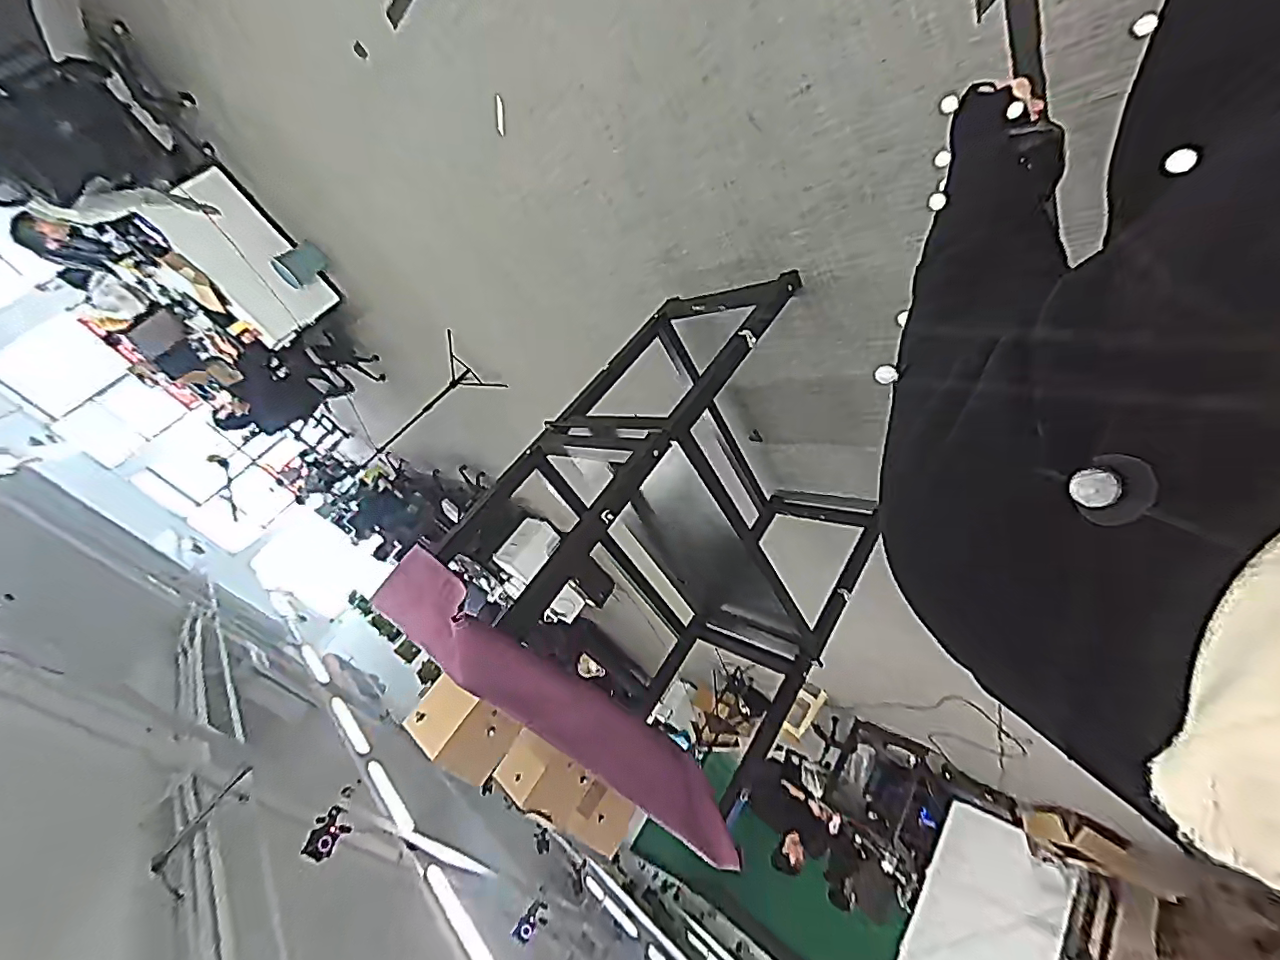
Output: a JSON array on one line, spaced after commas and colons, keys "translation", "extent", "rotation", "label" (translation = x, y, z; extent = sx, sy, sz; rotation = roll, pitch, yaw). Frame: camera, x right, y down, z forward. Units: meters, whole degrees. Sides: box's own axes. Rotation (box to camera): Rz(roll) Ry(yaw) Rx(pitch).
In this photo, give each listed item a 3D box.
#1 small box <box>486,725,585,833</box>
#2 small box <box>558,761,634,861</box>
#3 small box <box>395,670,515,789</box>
[{"translation": [-0.276, 0.801, 1.463], "extent": [0.179, 0.176, 0.168], "rotation": [5, 140, 53], "label": "small box"}, {"translation": [-0.153, 0.985, 1.623], "extent": [0.168, 0.176, 0.179], "rotation": [6, 141, 51], "label": "small box"}, {"translation": [-0.430, 0.576, 1.273], "extent": [0.179, 0.176, 0.168], "rotation": [12, 146, 45], "label": "small box"}]
